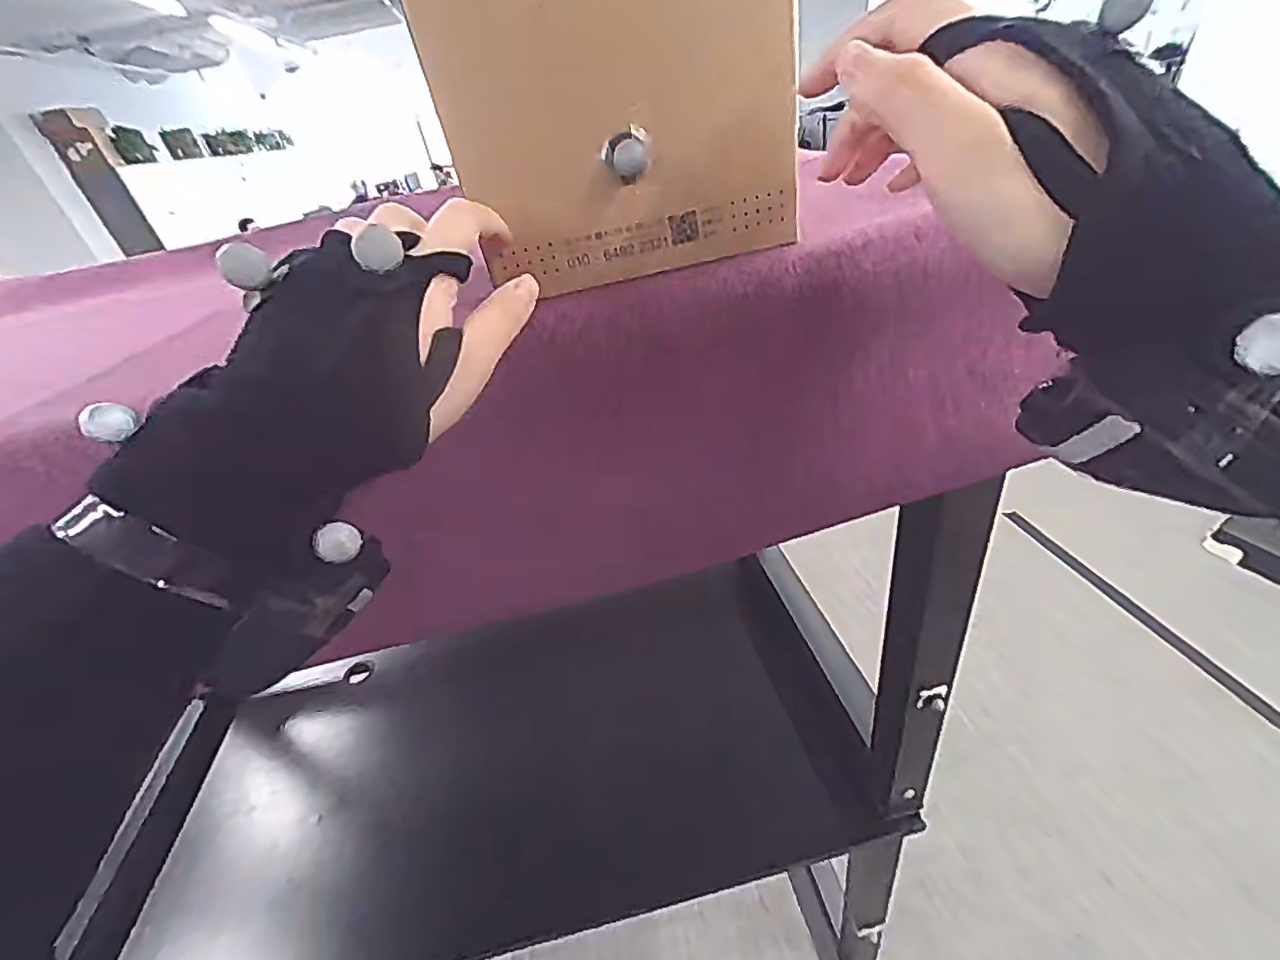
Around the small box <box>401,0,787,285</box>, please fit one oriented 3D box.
[{"bbox_3d":[-0.024,-0.224,0.308,0.168,0.176,0.179,-13,34,0],"label":"small box"}]
